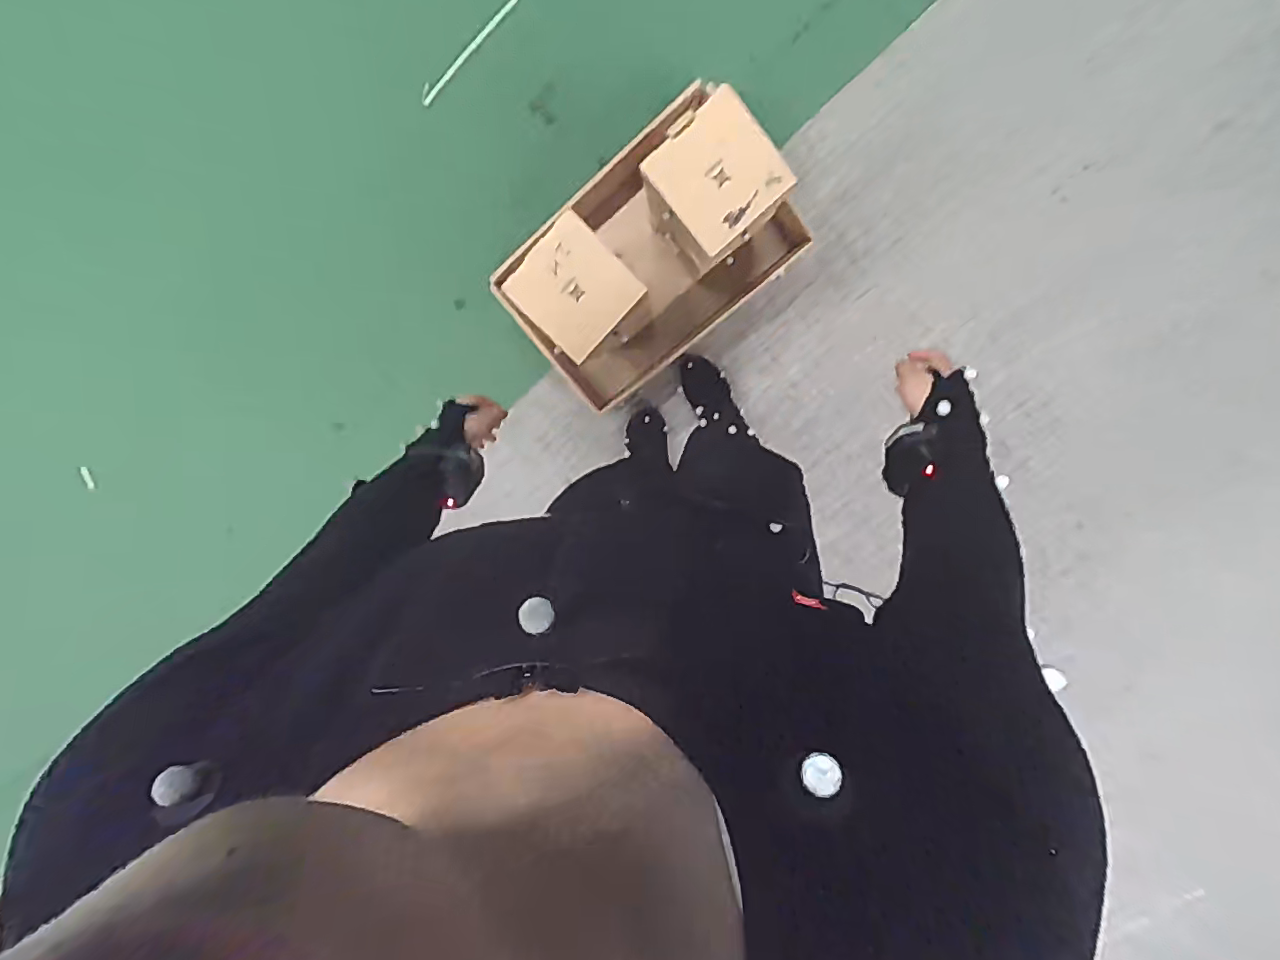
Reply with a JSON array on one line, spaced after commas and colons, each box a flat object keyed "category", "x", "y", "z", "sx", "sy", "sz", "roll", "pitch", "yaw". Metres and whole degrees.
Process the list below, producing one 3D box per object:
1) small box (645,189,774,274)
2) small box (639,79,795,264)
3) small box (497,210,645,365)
[{"category": "small box", "x": 0.125, "y": -0.519, "z": 1.032, "sx": 0.168, "sy": 0.176, "sz": 0.179, "roll": -37, "pitch": 101, "yaw": 12}, {"category": "small box", "x": 0.116, "y": -0.477, "z": 0.872, "sx": 0.168, "sy": 0.176, "sz": 0.179, "roll": -40, "pitch": 98, "yaw": 12}, {"category": "small box", "x": -0.106, "y": -0.318, "z": 0.922, "sx": 0.179, "sy": 0.176, "sz": 0.168, "roll": 43, "pitch": 100, "yaw": -8}]
